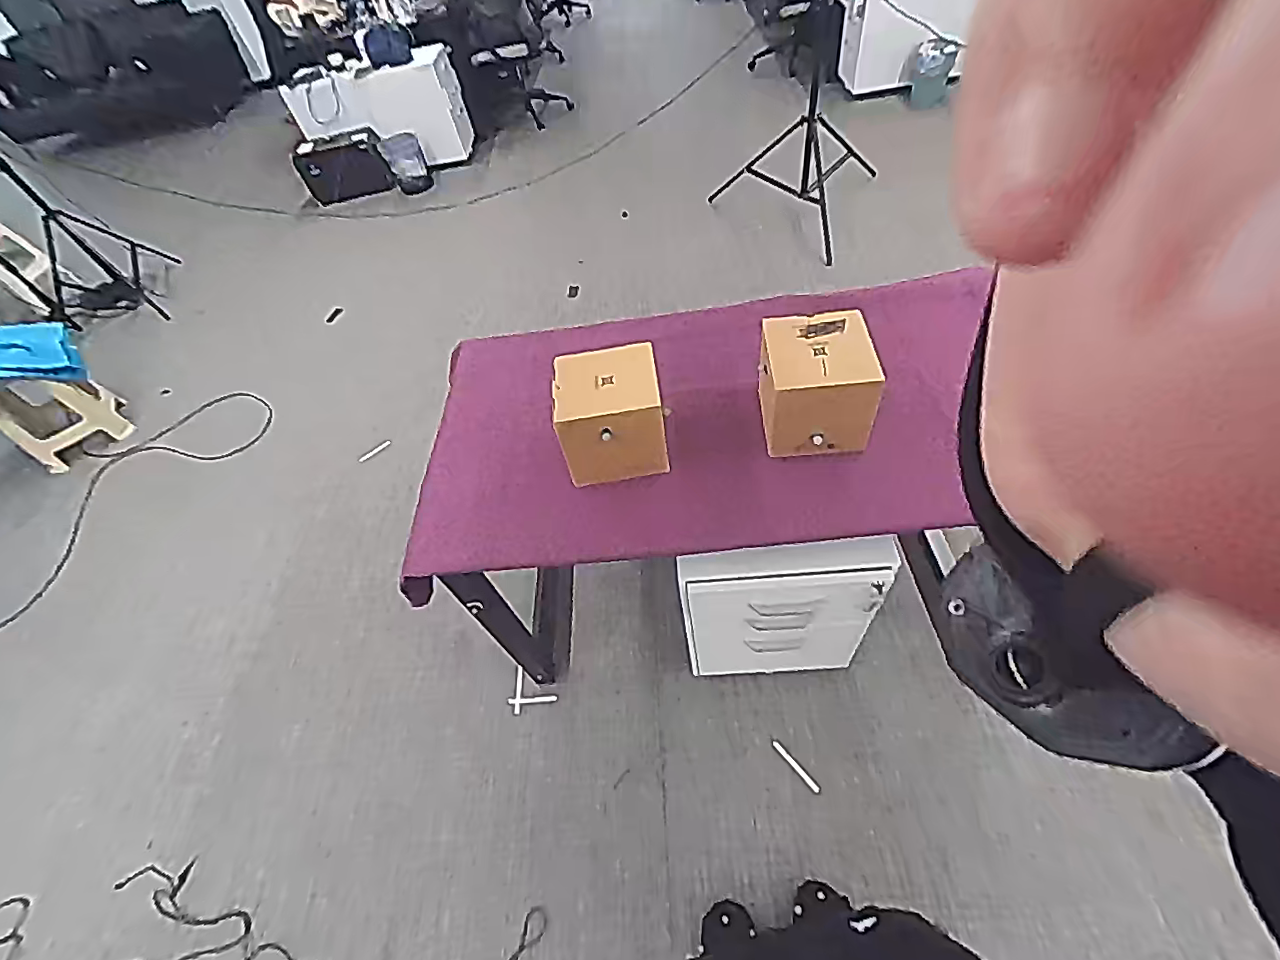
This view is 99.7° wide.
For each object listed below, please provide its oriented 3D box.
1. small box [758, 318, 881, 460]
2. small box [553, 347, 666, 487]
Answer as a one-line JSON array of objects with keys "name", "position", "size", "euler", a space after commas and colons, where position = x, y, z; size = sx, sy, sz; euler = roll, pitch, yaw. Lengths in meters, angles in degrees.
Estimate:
[{"name": "small box", "position": [0.298, -0.155, 0.940], "size": [0.168, 0.176, 0.179], "euler": [-4, 53, 7]}, {"name": "small box", "position": [-0.049, -0.108, 0.965], "size": [0.179, 0.176, 0.168], "euler": [-9, 51, 3]}]
